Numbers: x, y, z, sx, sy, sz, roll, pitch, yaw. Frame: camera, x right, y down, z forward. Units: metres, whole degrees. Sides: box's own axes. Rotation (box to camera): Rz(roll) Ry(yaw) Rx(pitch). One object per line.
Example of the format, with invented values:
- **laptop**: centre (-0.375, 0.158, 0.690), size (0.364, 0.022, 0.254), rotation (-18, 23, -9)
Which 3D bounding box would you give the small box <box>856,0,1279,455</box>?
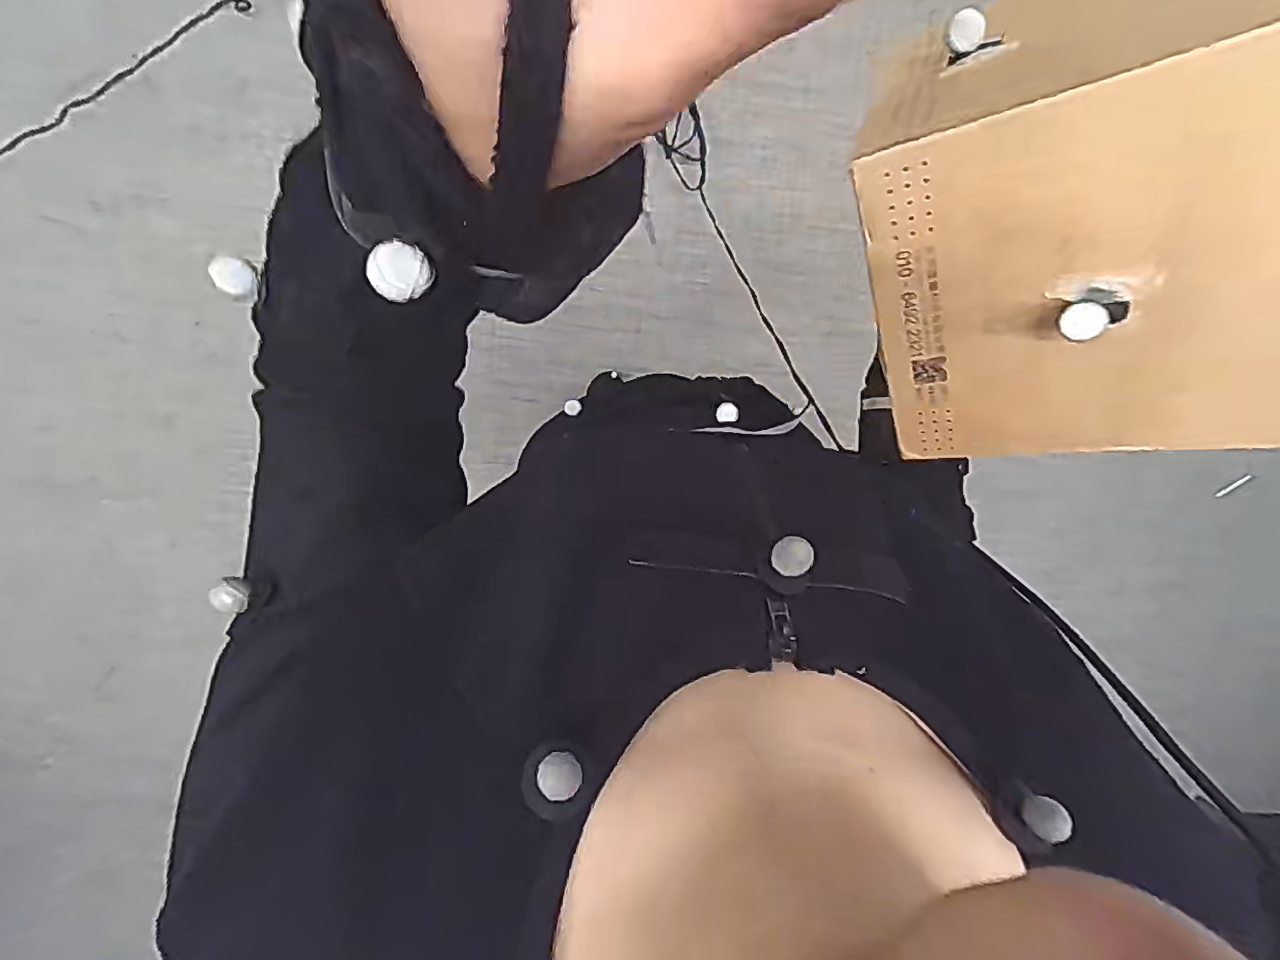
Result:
- **small box**: centre (0.212, -0.125, 0.262), size (0.176, 0.179, 0.168), rotation (-1, 135, 35)
